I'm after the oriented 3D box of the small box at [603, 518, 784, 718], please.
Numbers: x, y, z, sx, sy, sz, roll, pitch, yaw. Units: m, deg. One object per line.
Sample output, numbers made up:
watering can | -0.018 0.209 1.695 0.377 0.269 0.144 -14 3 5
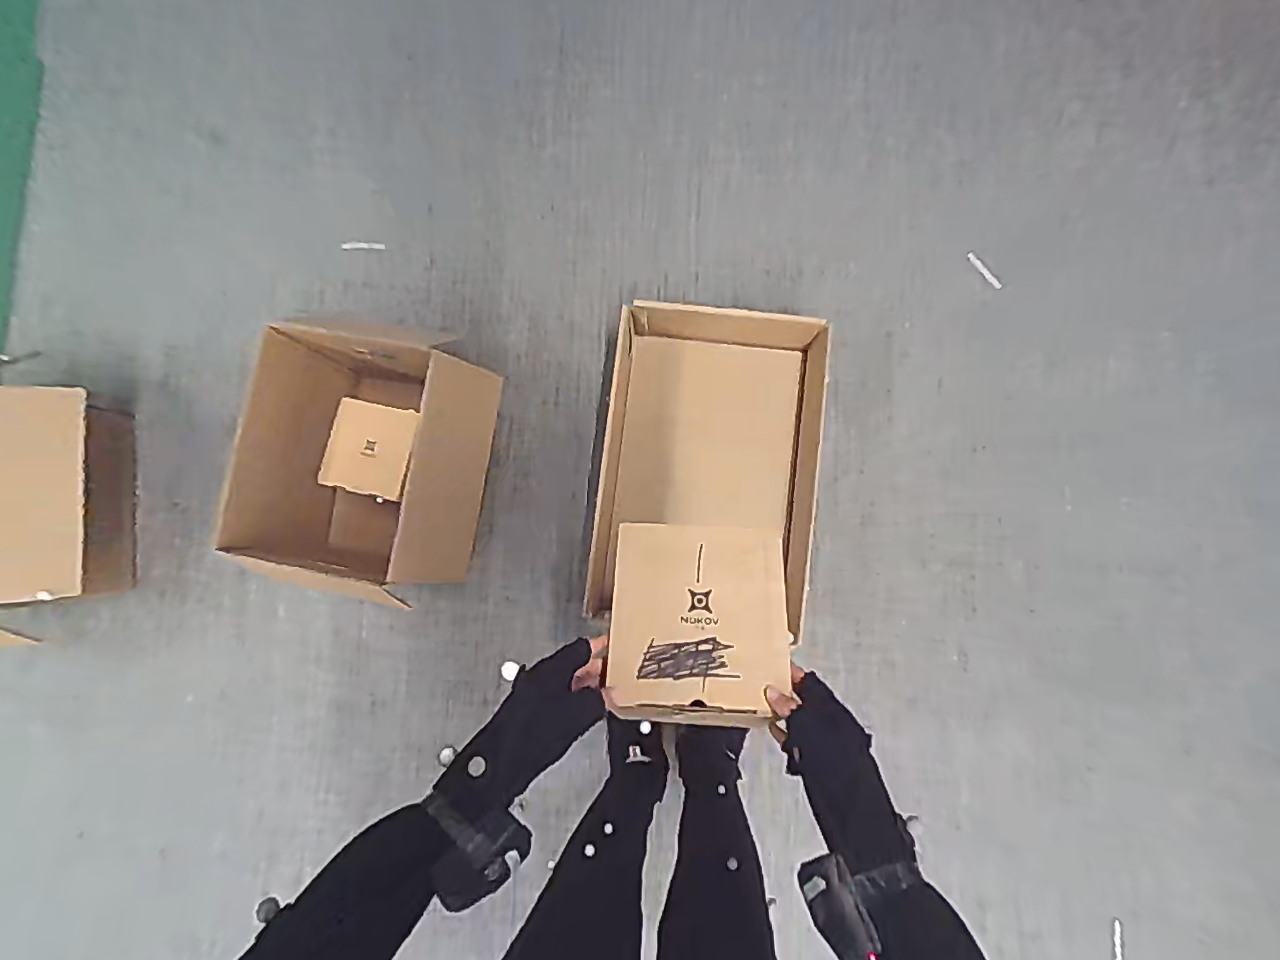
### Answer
small box | 0.057 0.157 0.590 0.168 0.176 0.179 2 61 4
